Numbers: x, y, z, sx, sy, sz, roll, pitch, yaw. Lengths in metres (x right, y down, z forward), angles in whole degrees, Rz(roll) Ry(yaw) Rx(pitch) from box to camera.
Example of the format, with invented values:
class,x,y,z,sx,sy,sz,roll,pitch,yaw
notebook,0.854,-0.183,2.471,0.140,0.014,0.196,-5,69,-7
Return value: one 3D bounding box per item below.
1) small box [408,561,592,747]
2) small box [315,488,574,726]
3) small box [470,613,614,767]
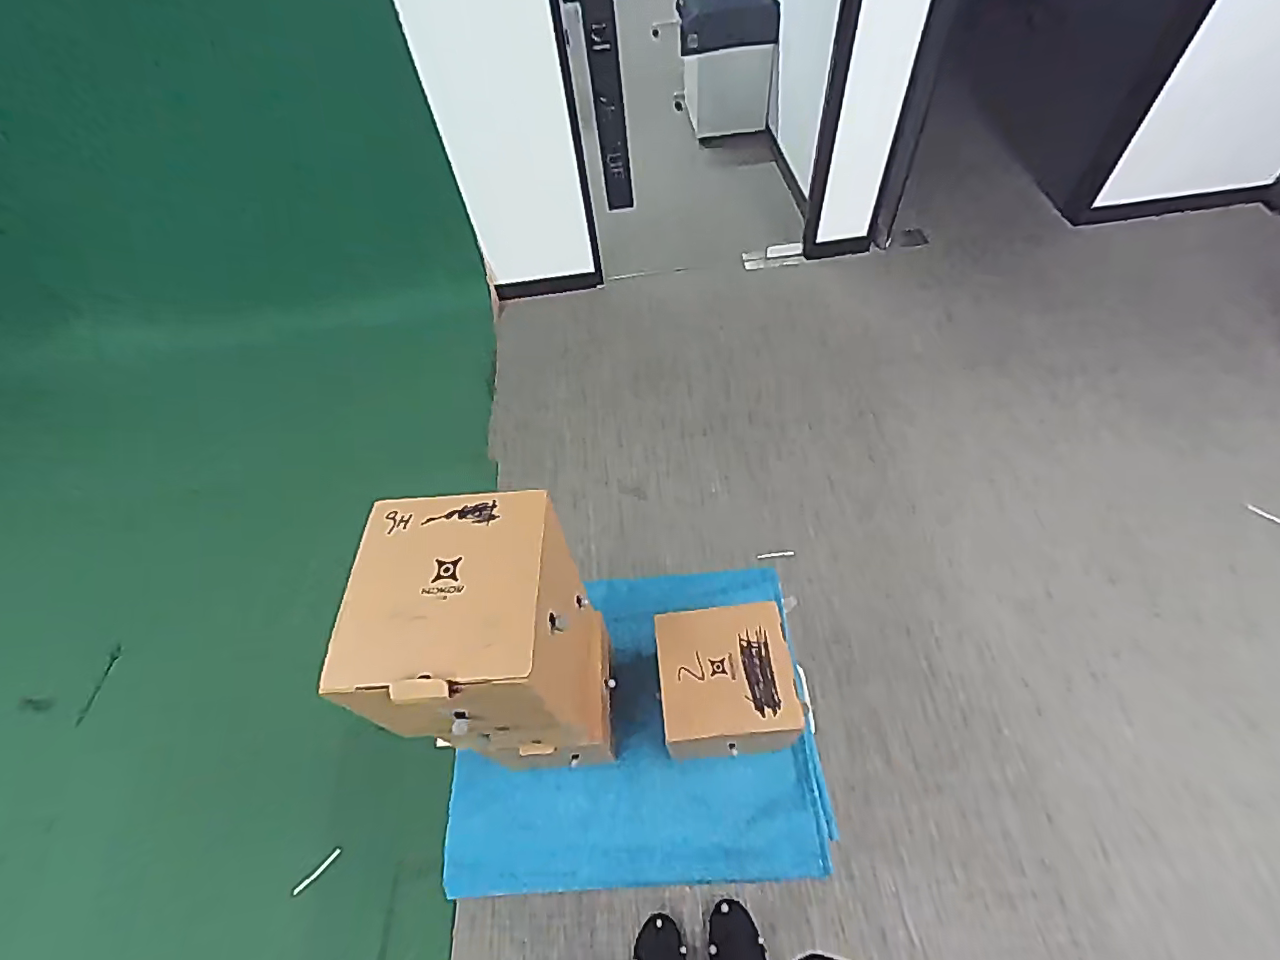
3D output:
class,x,y,z,sx,sy,sz,roll,pitch,yaw
small box,-0.152,0.216,0.653,0.168,0.176,0.179,-3,53,3
small box,-0.159,0.128,0.514,0.168,0.176,0.179,-3,54,3
small box,-0.128,0.309,0.782,0.168,0.176,0.179,-4,53,2
